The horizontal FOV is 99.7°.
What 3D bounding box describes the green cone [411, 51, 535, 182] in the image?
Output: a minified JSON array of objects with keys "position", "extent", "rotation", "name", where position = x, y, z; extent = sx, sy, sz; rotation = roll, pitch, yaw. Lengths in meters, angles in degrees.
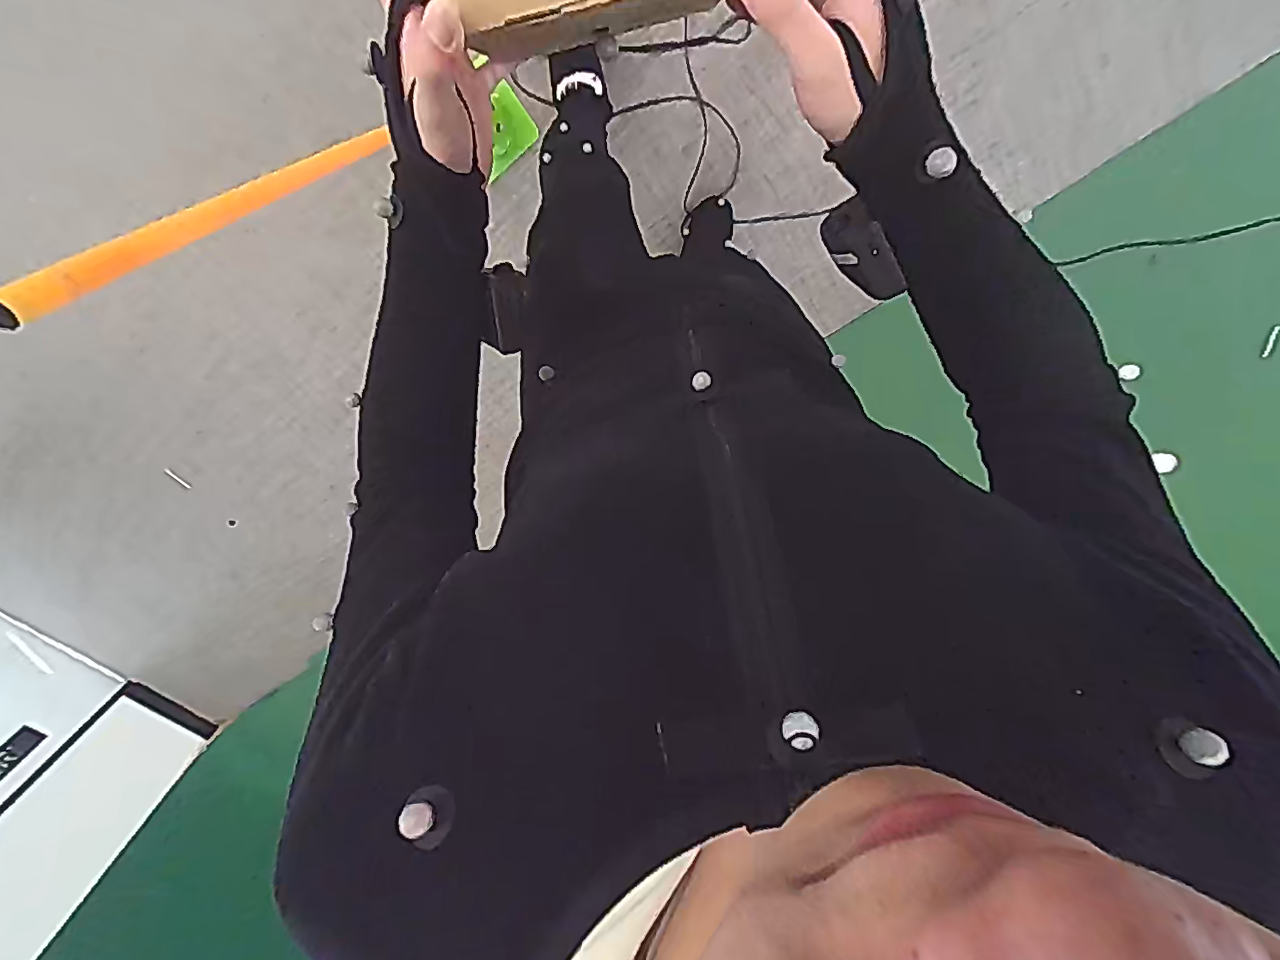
[{"position":[-0.384,-0.753,1.122],"extent":[0.202,0.368,0.200],"rotation":[-31,116,21],"name":"green cone"}]
